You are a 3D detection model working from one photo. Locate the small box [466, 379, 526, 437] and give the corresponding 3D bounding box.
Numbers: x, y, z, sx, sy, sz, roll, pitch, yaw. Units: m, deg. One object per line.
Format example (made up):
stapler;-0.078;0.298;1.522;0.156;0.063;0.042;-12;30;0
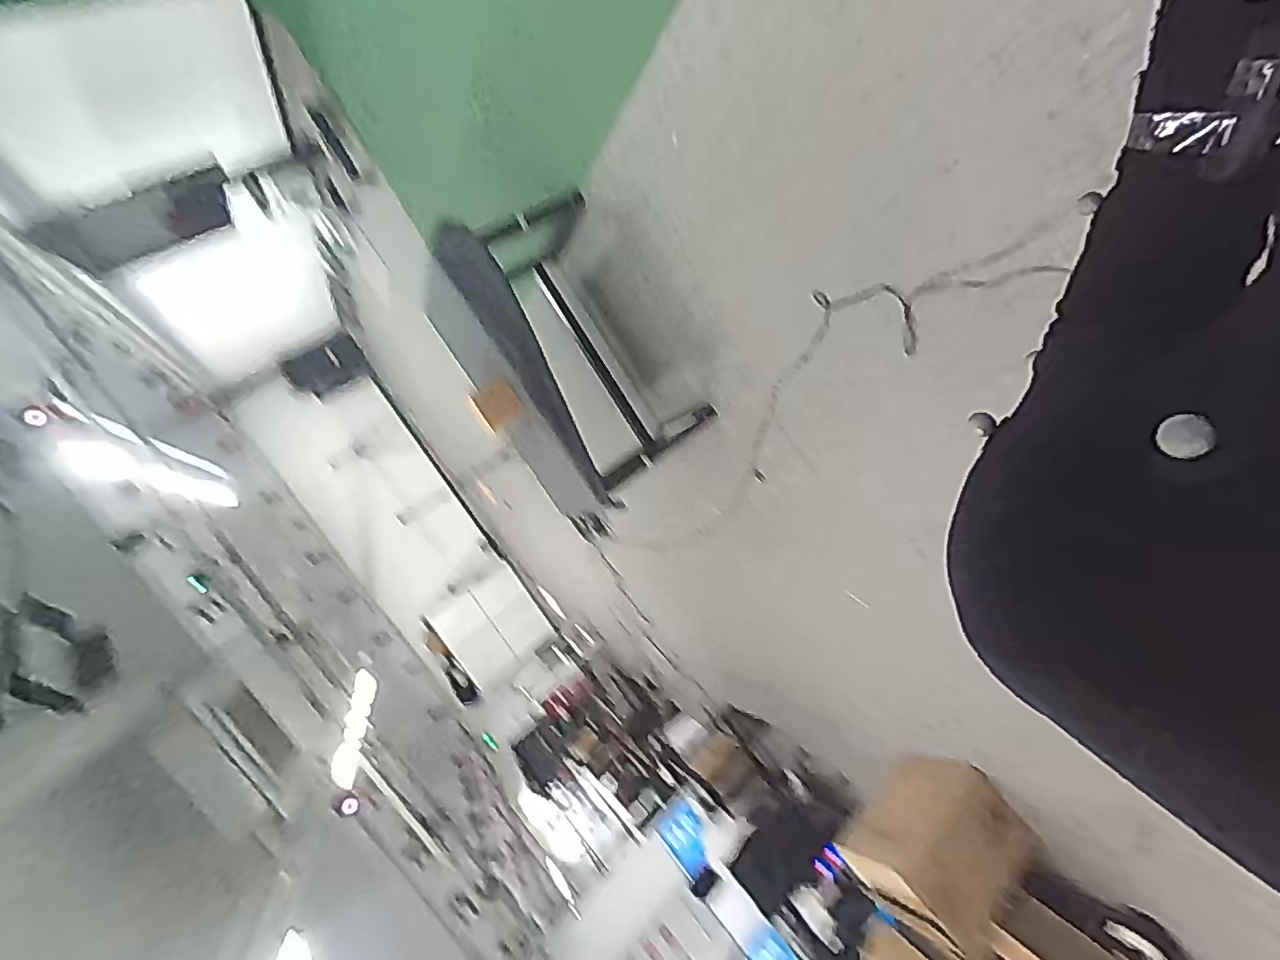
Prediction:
small box;-0.612;-0.312;2.296;0.179;0.176;0.168;55;158;-8
